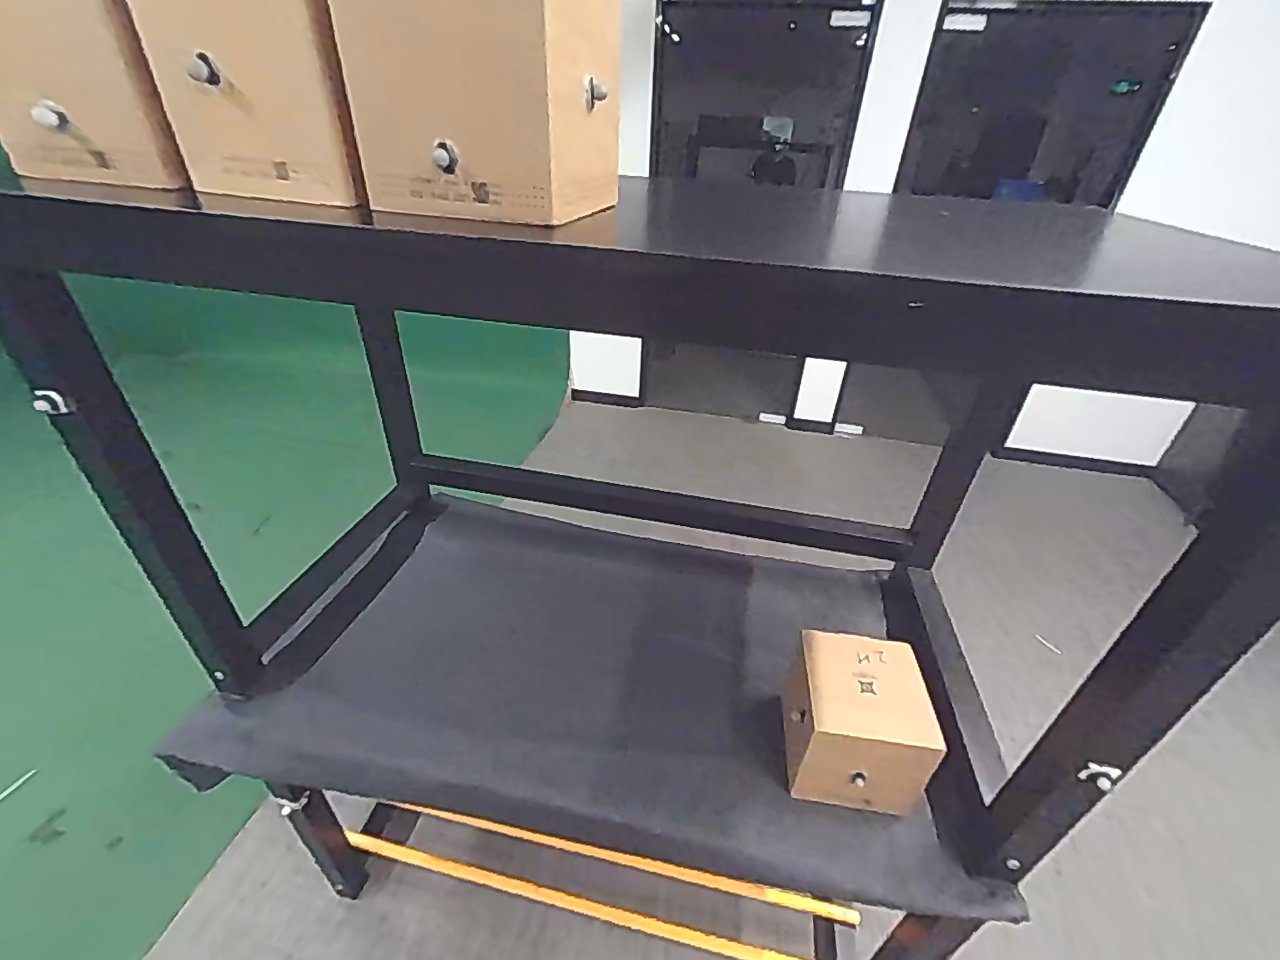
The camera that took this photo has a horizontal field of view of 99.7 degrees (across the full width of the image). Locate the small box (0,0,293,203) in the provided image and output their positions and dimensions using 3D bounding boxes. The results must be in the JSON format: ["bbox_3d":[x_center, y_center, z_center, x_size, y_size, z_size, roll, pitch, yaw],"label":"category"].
[{"bbox_3d":[-0.478,-0.380,0.527,0.168,0.176,0.179,8,35,7],"label":"small box"}]

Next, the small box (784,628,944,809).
[{"bbox_3d":[0.316,0.353,0.804,0.168,0.176,0.179,7,33,5],"label":"small box"}]
